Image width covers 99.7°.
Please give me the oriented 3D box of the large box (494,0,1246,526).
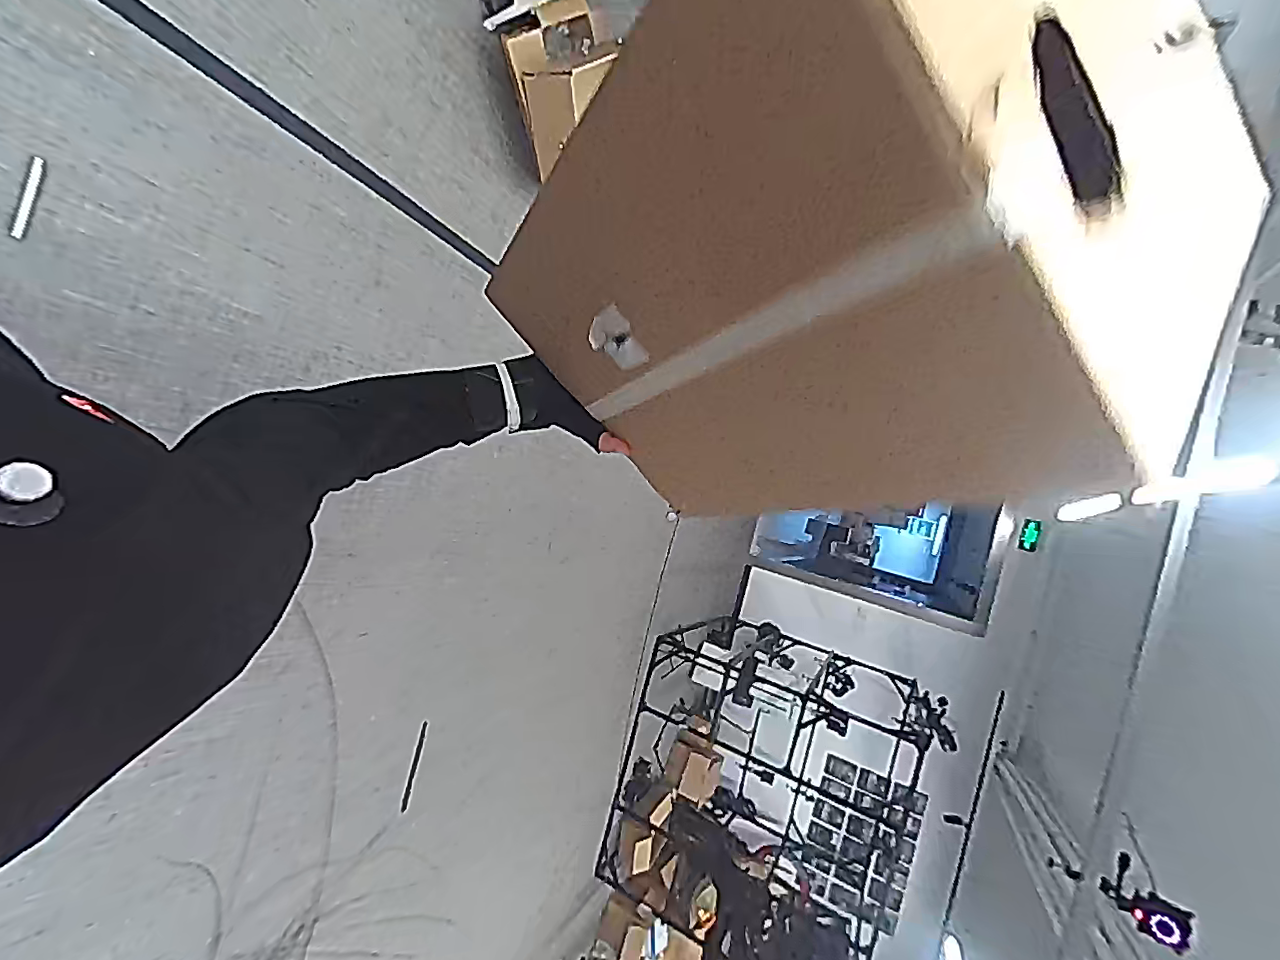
[{"bbox_3d":[0.132,-0.181,0.446,0.320,0.408,0.320,-45,107,-21],"label":"large box"}]
